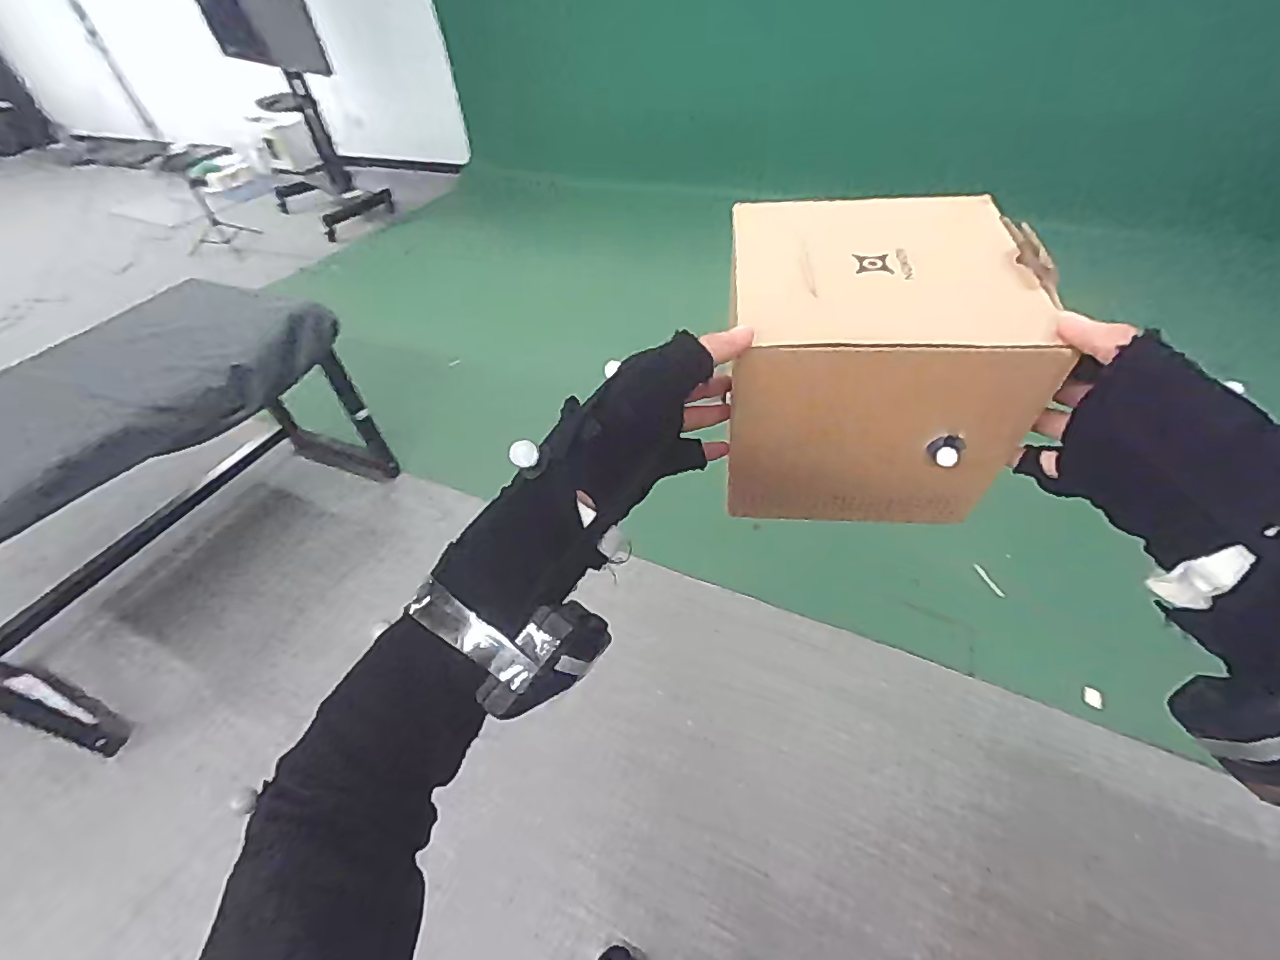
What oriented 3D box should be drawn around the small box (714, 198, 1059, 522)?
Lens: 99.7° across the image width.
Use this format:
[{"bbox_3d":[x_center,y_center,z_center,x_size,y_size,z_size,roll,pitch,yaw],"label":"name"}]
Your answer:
[{"bbox_3d":[0.145,-0.081,0.398,0.179,0.176,0.168,0,51,8],"label":"small box"}]
